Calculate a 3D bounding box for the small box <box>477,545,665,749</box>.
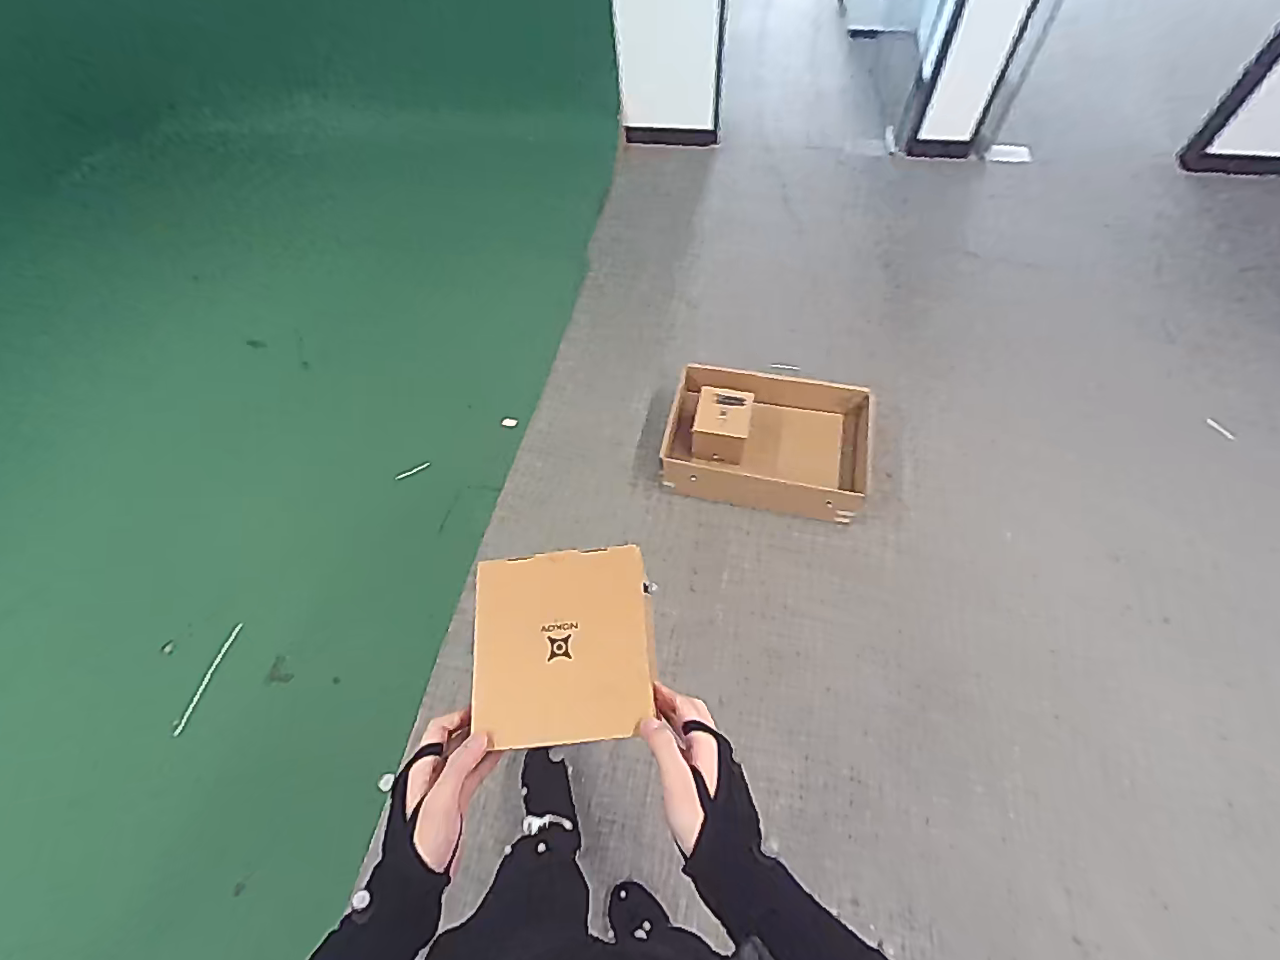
[{"bbox_3d":[-0.064,0.184,0.584,0.168,0.176,0.179,-6,65,3],"label":"small box"}]
